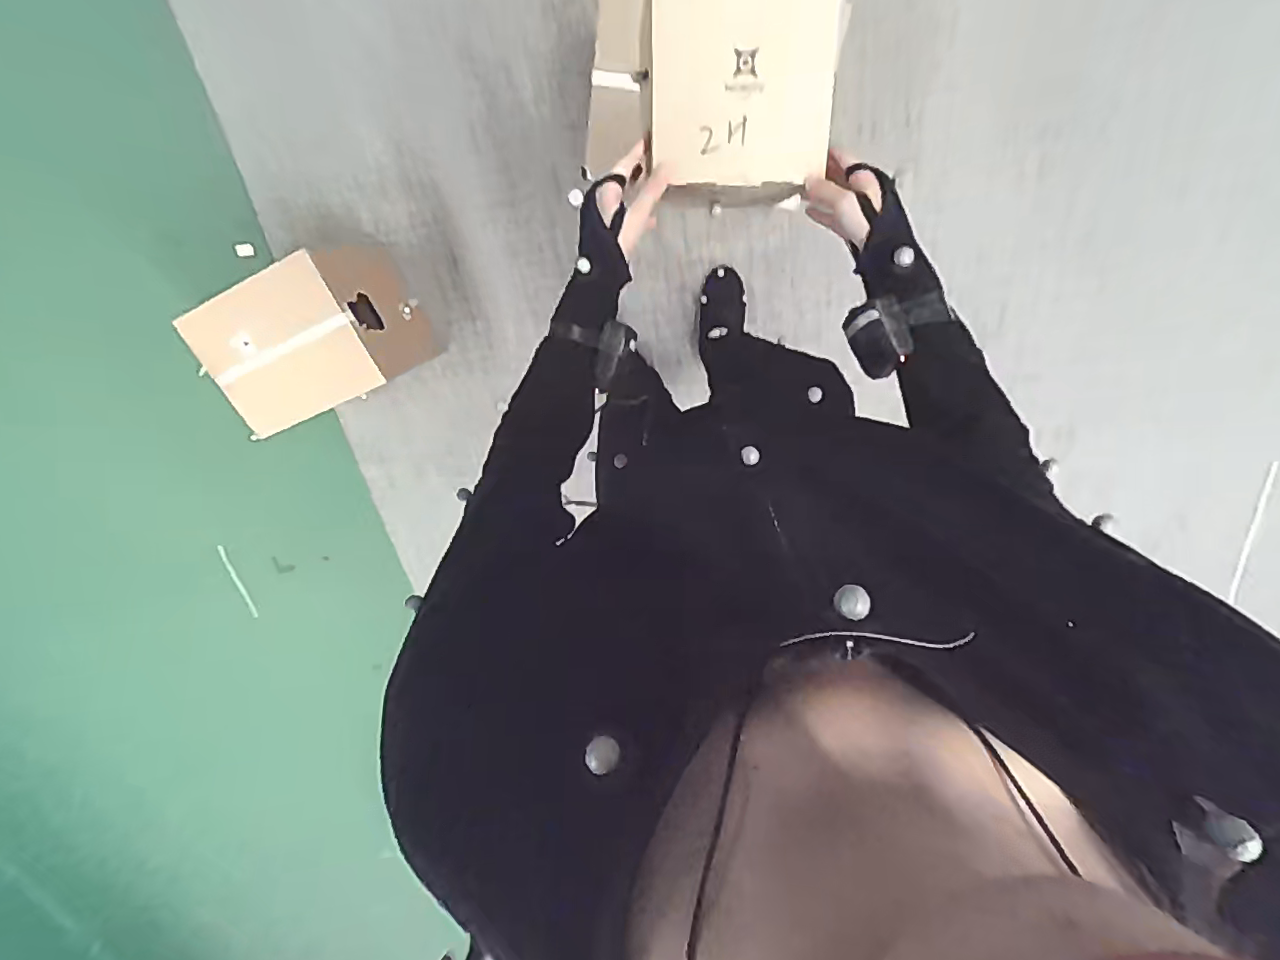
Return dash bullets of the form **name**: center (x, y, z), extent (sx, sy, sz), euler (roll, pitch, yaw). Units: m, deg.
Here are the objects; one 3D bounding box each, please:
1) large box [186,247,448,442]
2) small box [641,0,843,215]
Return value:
- **large box**: center (-0.780, -0.349, 1.363), extent (0.408, 0.320, 0.320), euler (-18, 110, 16)
- **small box**: center (0.088, -0.381, 0.555), extent (0.168, 0.176, 0.179), euler (-2, 110, -2)
